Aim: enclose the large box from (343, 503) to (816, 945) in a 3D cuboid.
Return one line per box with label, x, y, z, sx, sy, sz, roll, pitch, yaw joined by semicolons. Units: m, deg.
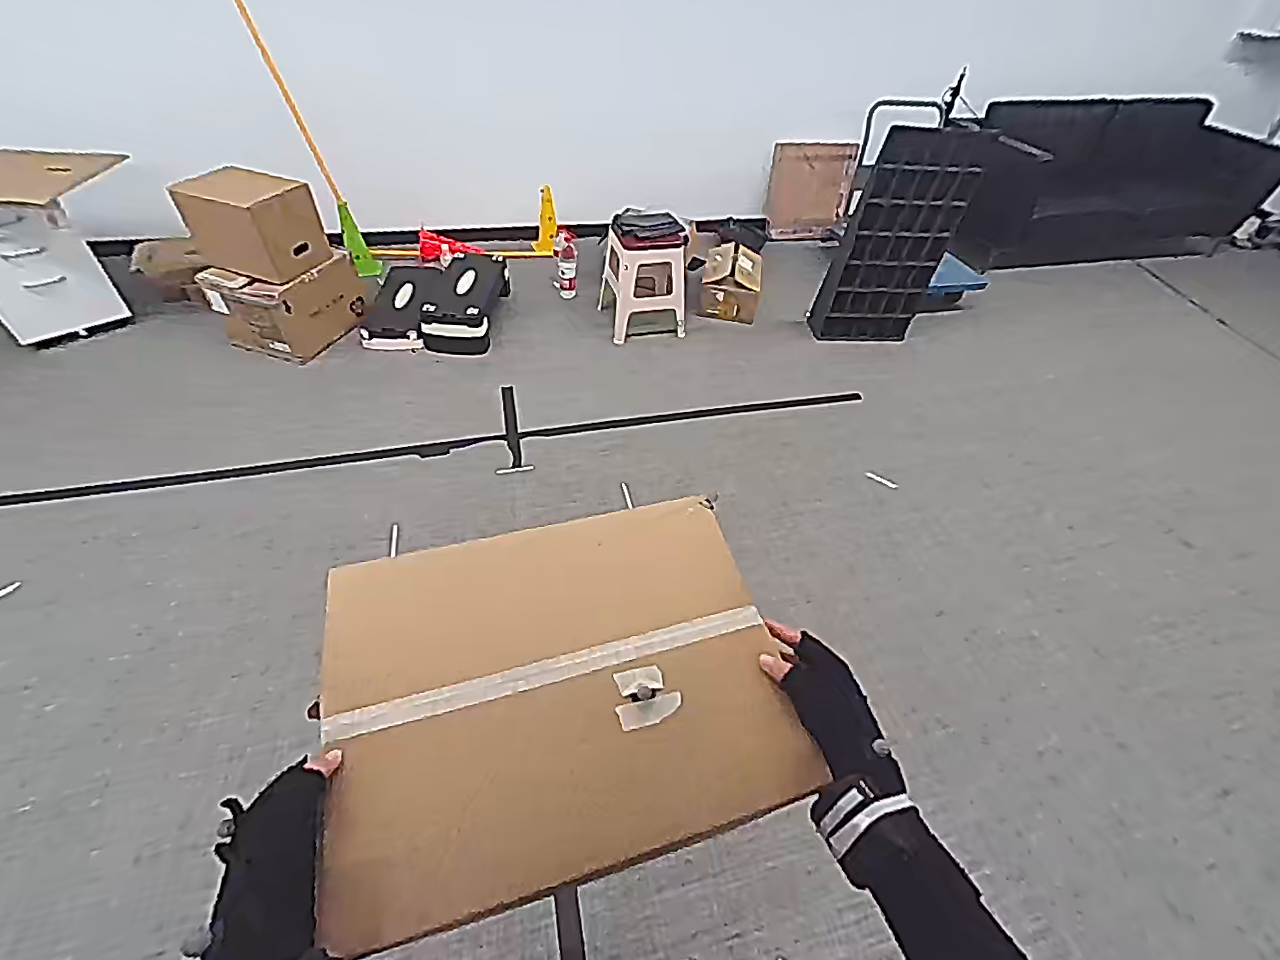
large box;-0.084;0.272;0.637;0.408;0.320;0.320;-11;55;-14
